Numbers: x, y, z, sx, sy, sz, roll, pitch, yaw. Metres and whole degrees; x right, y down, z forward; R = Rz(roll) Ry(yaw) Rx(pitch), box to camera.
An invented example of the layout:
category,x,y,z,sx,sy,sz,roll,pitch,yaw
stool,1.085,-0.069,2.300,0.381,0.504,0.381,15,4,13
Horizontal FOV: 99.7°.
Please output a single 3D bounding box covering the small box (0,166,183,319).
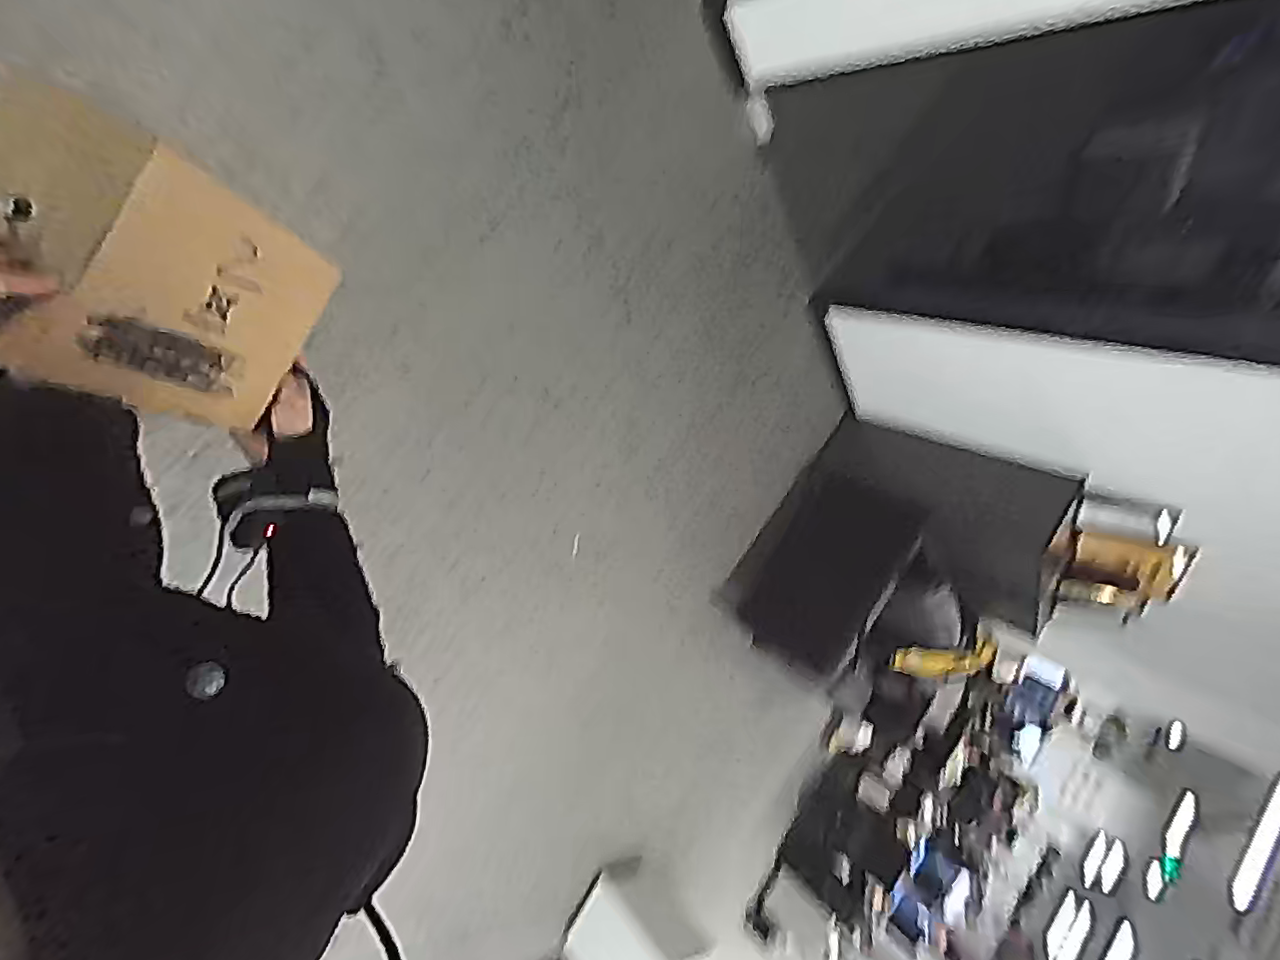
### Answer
category,x,y,z,sx,sy,sz,roll,pitch,yaw
small box,-0.938,-0.404,0.919,0.179,0.176,0.168,-49,136,-16
